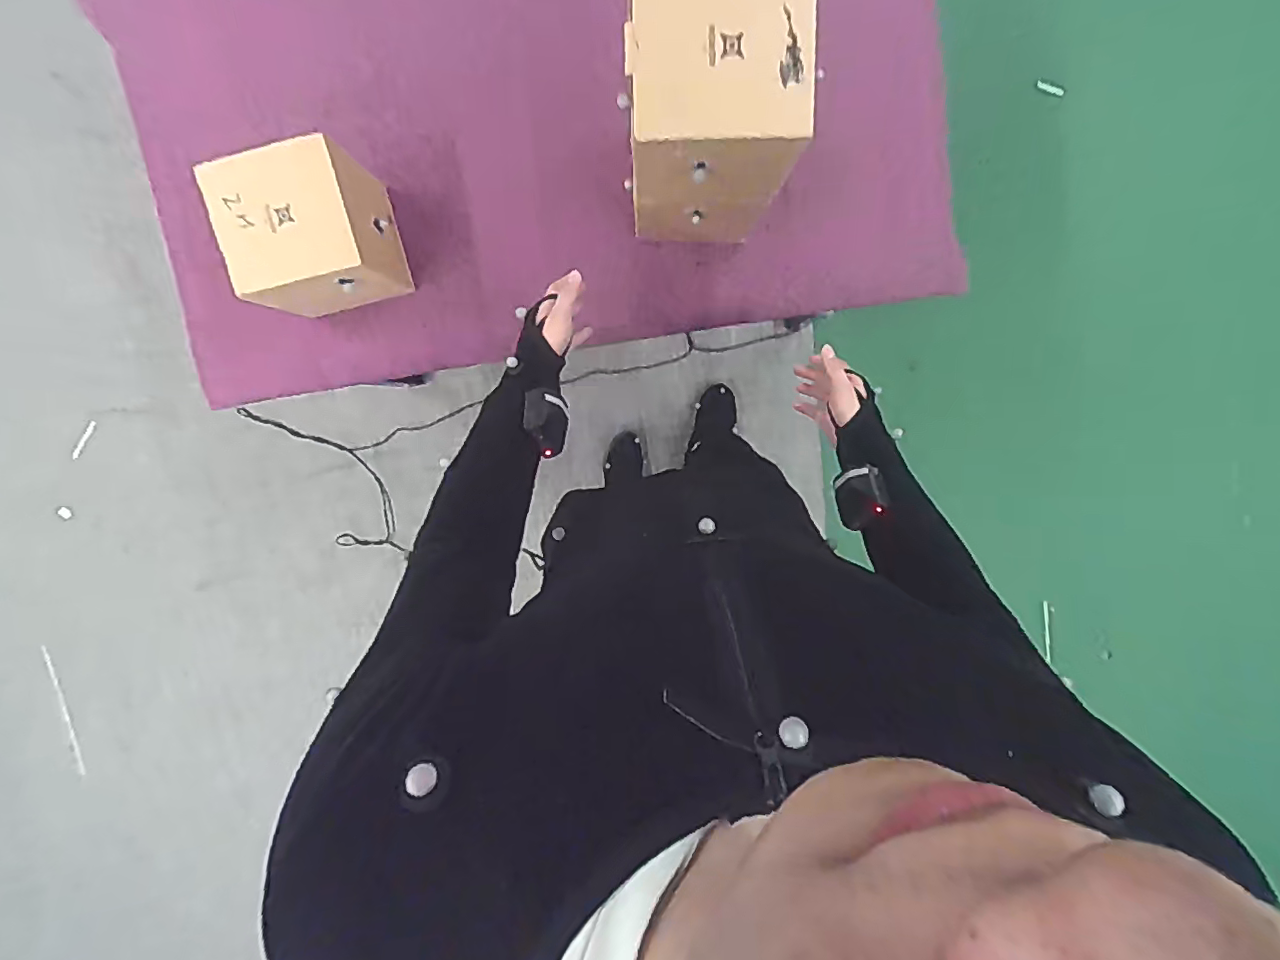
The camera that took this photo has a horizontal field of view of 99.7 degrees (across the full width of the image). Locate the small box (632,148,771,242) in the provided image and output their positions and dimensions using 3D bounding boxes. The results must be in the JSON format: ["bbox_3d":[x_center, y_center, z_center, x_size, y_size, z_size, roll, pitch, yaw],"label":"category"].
[{"bbox_3d":[0.082,-0.439,0.744,0.179,0.176,0.168,3,98,0],"label":"small box"}]

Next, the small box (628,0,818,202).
[{"bbox_3d":[0.080,-0.414,0.582,0.179,0.176,0.168,0,99,2],"label":"small box"}]

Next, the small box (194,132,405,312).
[{"bbox_3d":[-0.456,-0.347,0.761,0.179,0.176,0.168,-13,98,2],"label":"small box"}]
